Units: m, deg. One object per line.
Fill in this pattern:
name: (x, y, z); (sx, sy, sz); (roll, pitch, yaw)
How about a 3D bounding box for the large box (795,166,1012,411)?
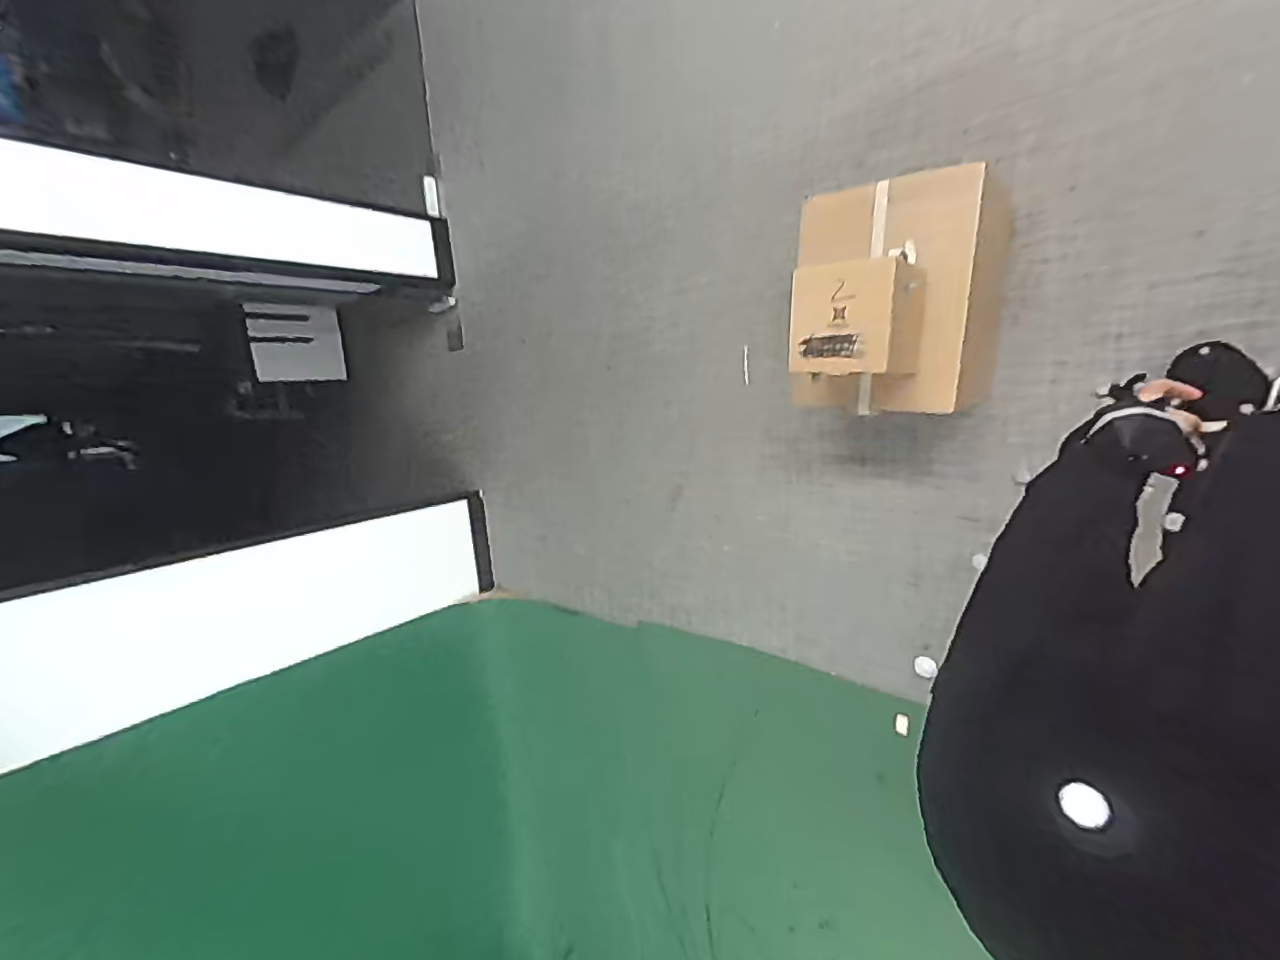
large box: (0.537, -0.350, 1.109); (0.320, 0.320, 0.408); (10, 105, 40)
